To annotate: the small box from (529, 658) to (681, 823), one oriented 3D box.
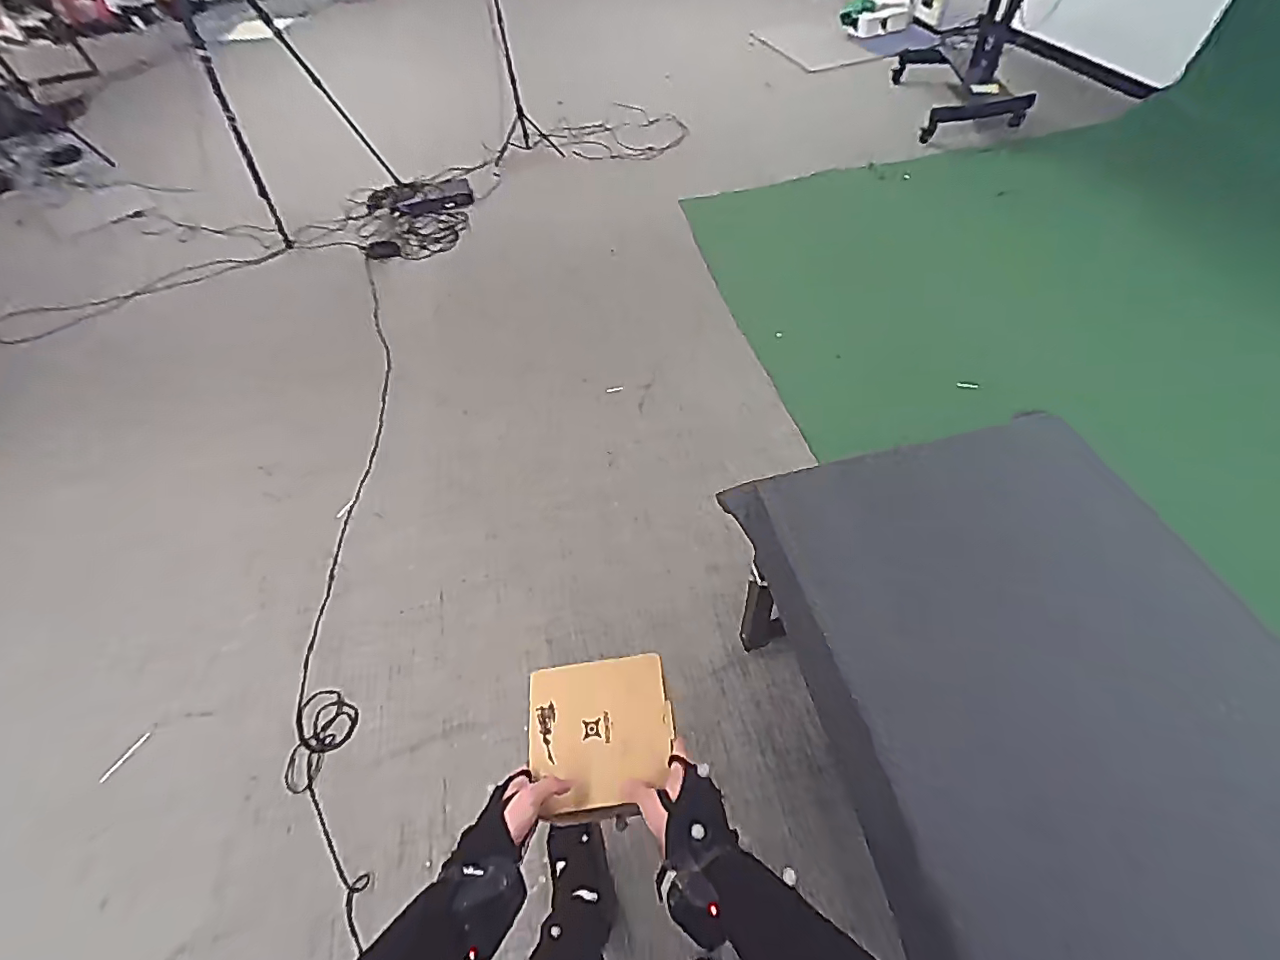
[{"bbox_3d":[-0.040,0.352,0.722,0.179,0.176,0.168,-8,54,2],"label":"small box"}]
